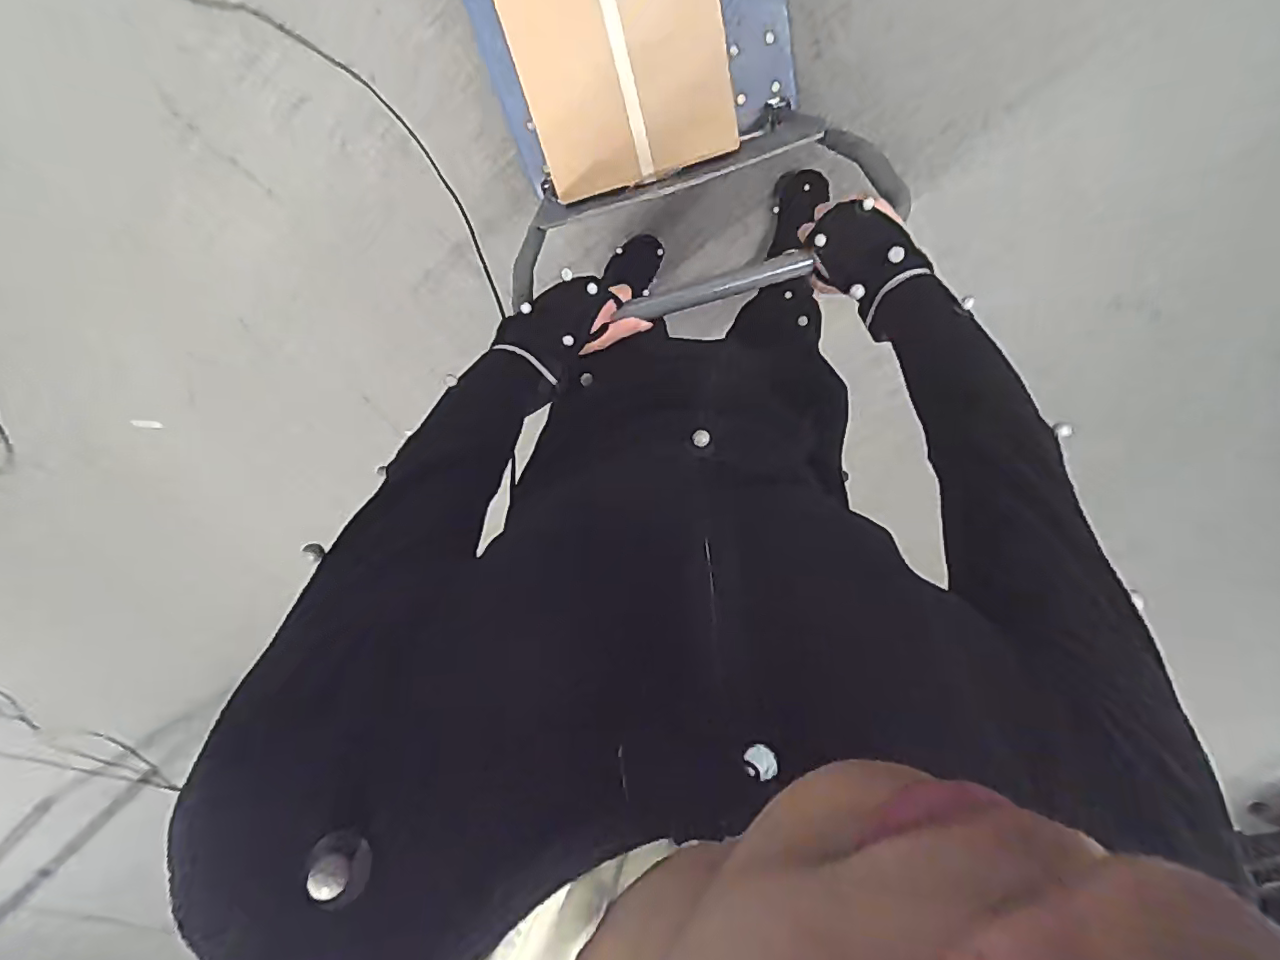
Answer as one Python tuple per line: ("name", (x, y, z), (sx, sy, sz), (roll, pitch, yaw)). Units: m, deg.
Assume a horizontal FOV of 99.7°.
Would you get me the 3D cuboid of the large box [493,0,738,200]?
("large box", (-0.041, -0.752, 0.913), (0.320, 0.320, 0.408), (-14, 124, 9))
